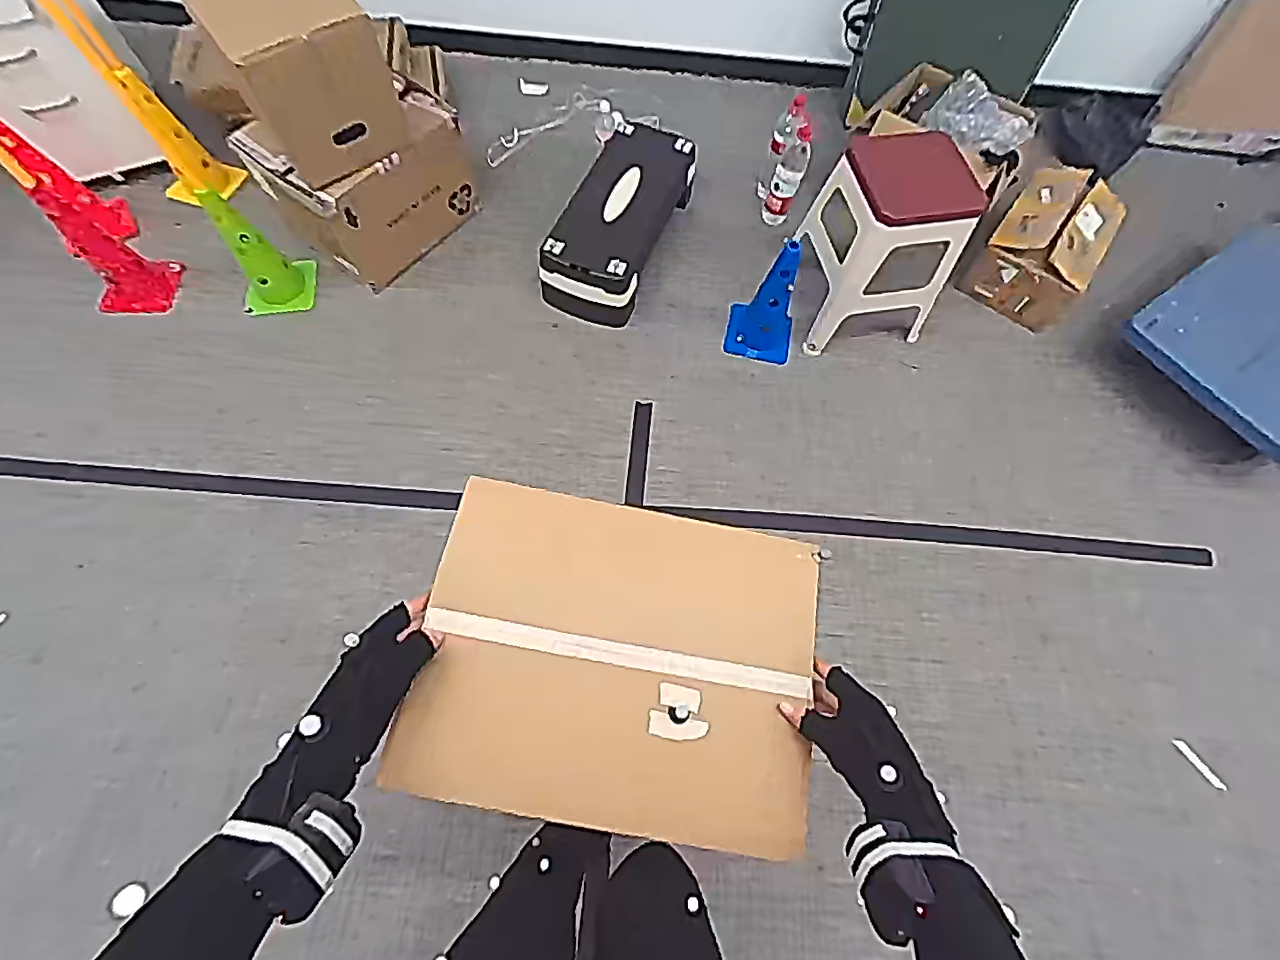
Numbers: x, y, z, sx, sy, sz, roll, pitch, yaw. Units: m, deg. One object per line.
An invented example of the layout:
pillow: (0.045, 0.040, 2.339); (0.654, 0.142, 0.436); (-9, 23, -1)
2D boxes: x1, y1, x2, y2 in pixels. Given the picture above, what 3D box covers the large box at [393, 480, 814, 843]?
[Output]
large box: (-0.033, 0.228, 0.707); (0.408, 0.320, 0.320); (12, 69, -2)
